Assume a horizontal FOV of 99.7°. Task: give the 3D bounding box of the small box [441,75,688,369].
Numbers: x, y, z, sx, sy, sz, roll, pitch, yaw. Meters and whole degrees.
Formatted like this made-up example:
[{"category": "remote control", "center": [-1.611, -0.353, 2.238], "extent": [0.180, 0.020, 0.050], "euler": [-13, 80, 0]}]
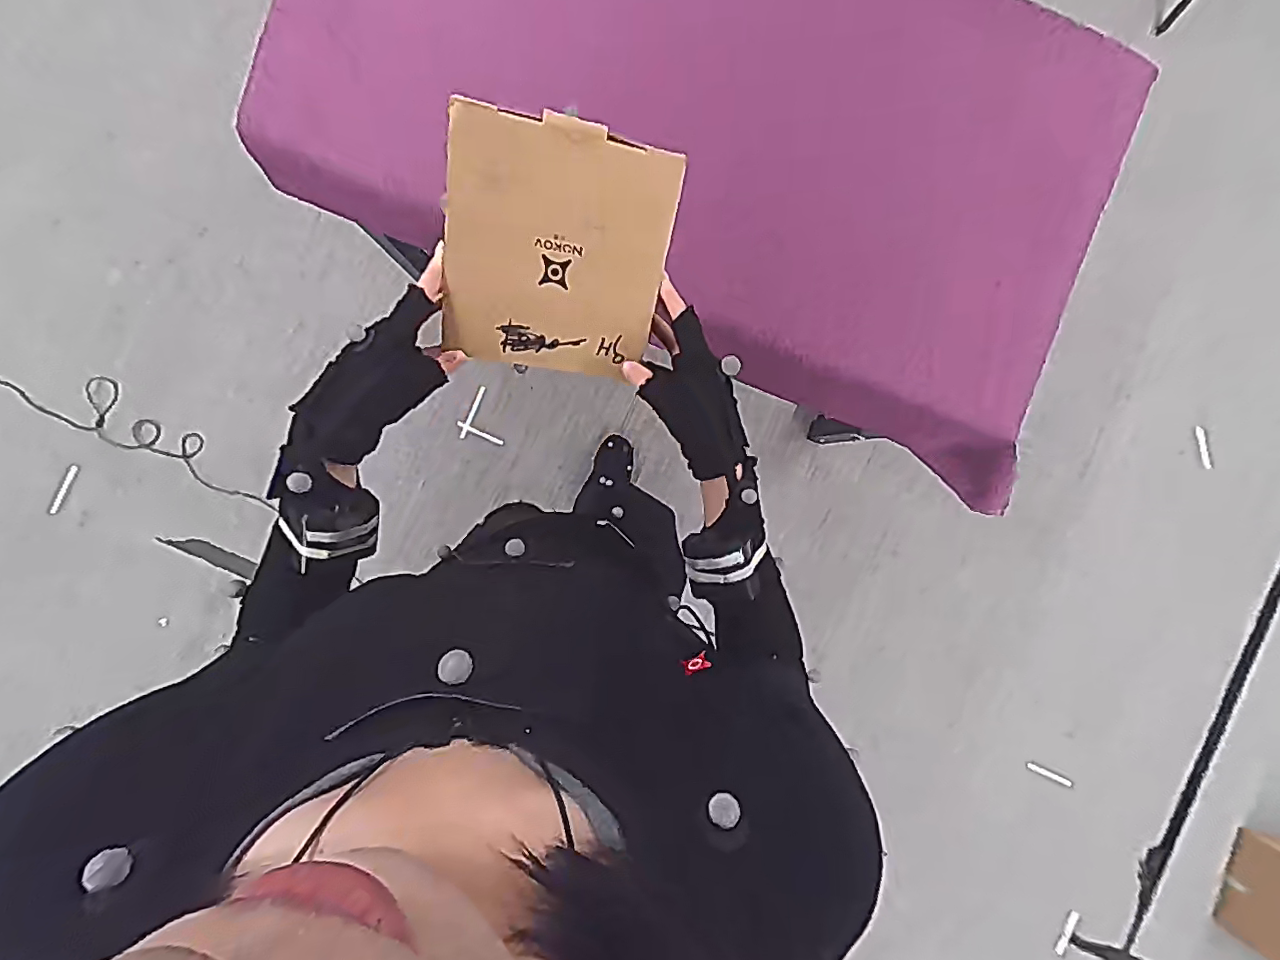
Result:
[{"category": "small box", "center": [-0.074, -0.219, 0.474], "extent": [0.168, 0.176, 0.179], "euler": [6, 120, -15]}]
